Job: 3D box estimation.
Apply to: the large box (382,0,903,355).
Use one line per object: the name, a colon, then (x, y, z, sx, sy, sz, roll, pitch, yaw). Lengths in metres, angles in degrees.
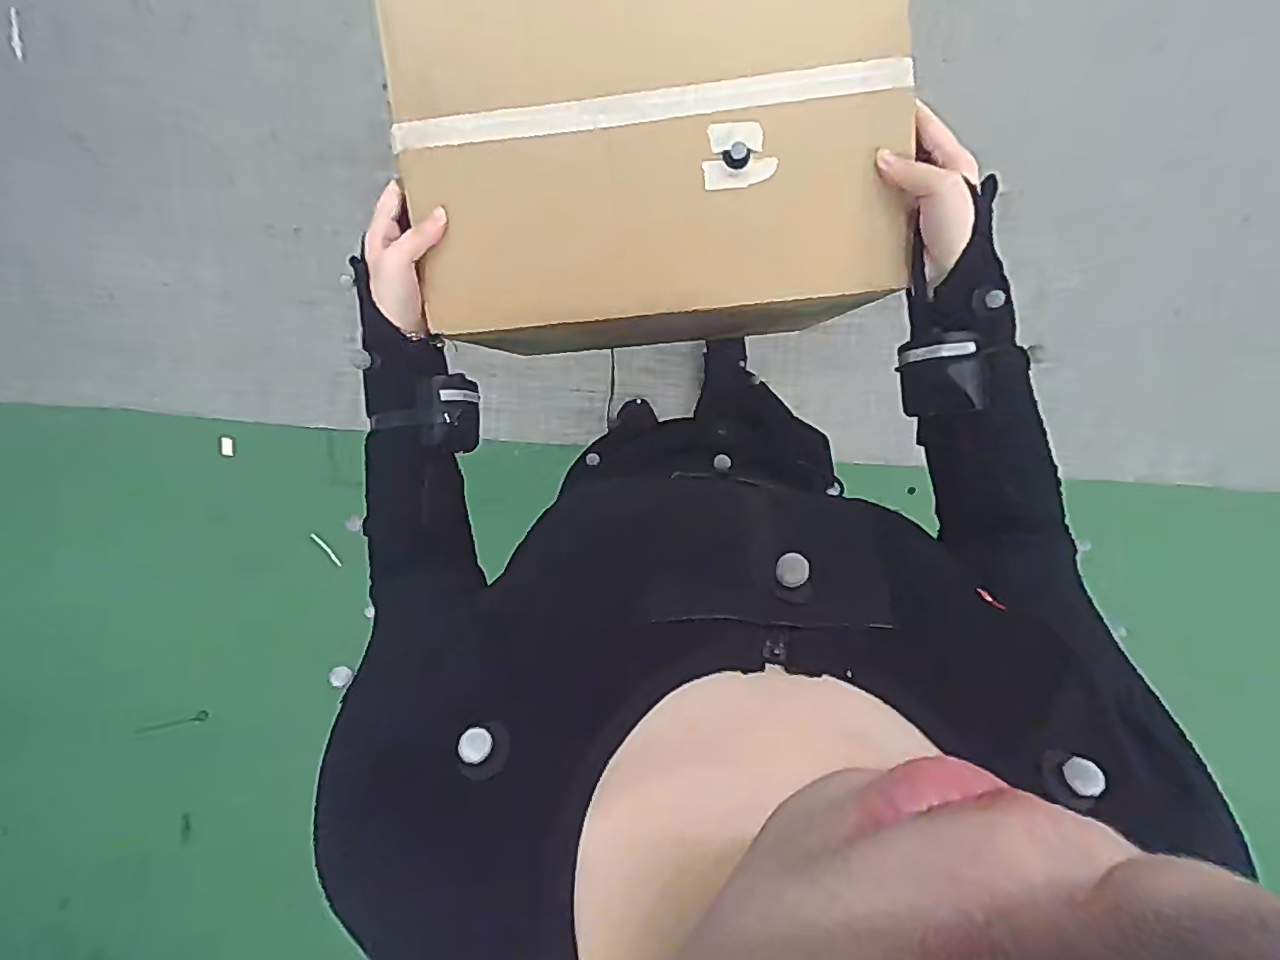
large box: (0.006, -0.324, 0.580, 0.408, 0.320, 0.320, -6, 100, 2)
